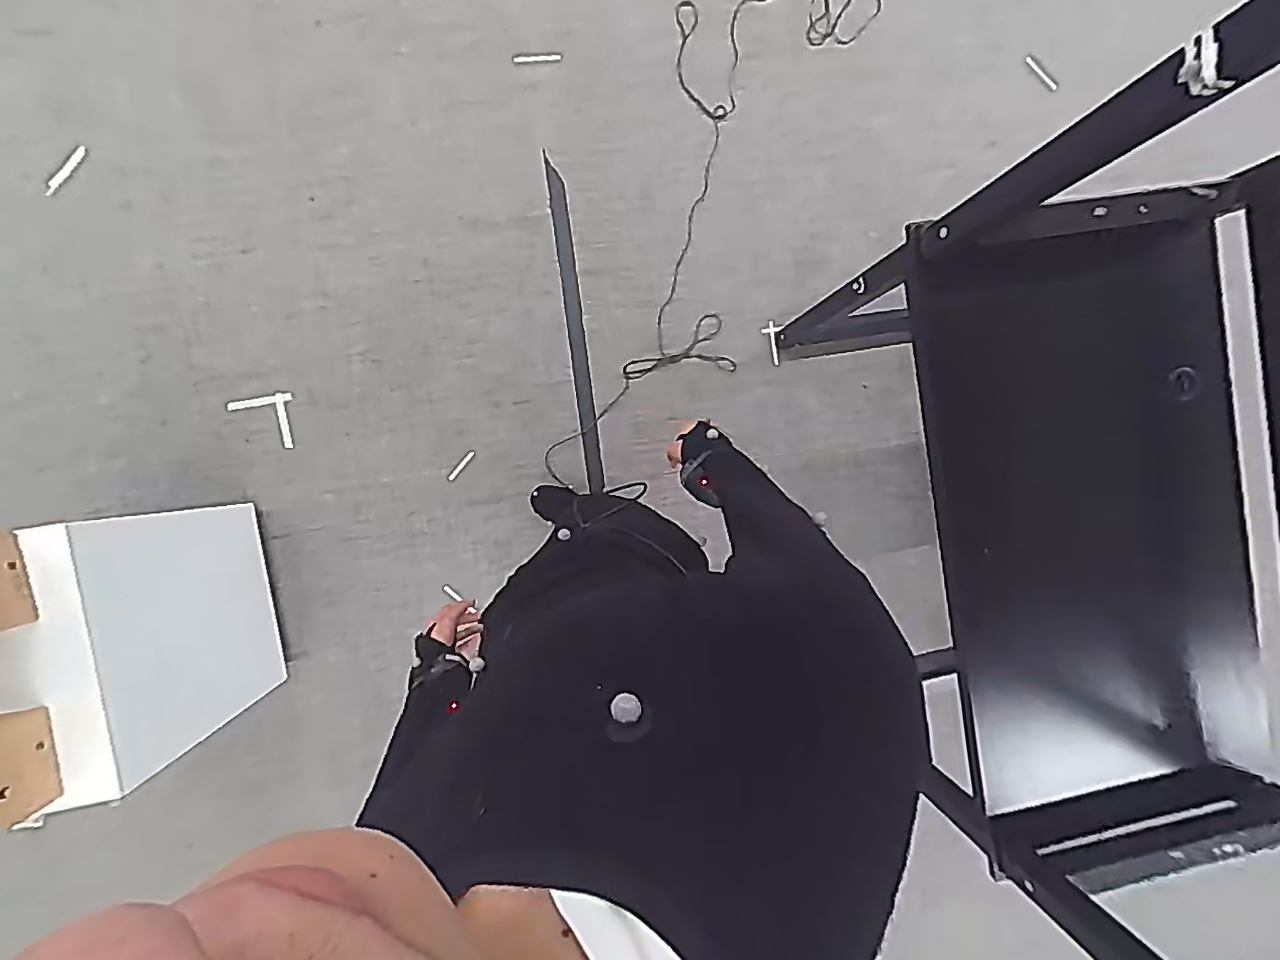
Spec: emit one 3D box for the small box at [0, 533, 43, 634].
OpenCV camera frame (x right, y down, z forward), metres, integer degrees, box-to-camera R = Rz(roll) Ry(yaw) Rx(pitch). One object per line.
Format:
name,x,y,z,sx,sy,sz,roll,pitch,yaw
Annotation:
small box,-1.139,0.189,0.860,0.179,0.176,0.168,-12,94,-5

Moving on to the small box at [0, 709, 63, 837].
small box,-1.102,0.494,0.876,0.179,0.176,0.168,-9,92,-5
